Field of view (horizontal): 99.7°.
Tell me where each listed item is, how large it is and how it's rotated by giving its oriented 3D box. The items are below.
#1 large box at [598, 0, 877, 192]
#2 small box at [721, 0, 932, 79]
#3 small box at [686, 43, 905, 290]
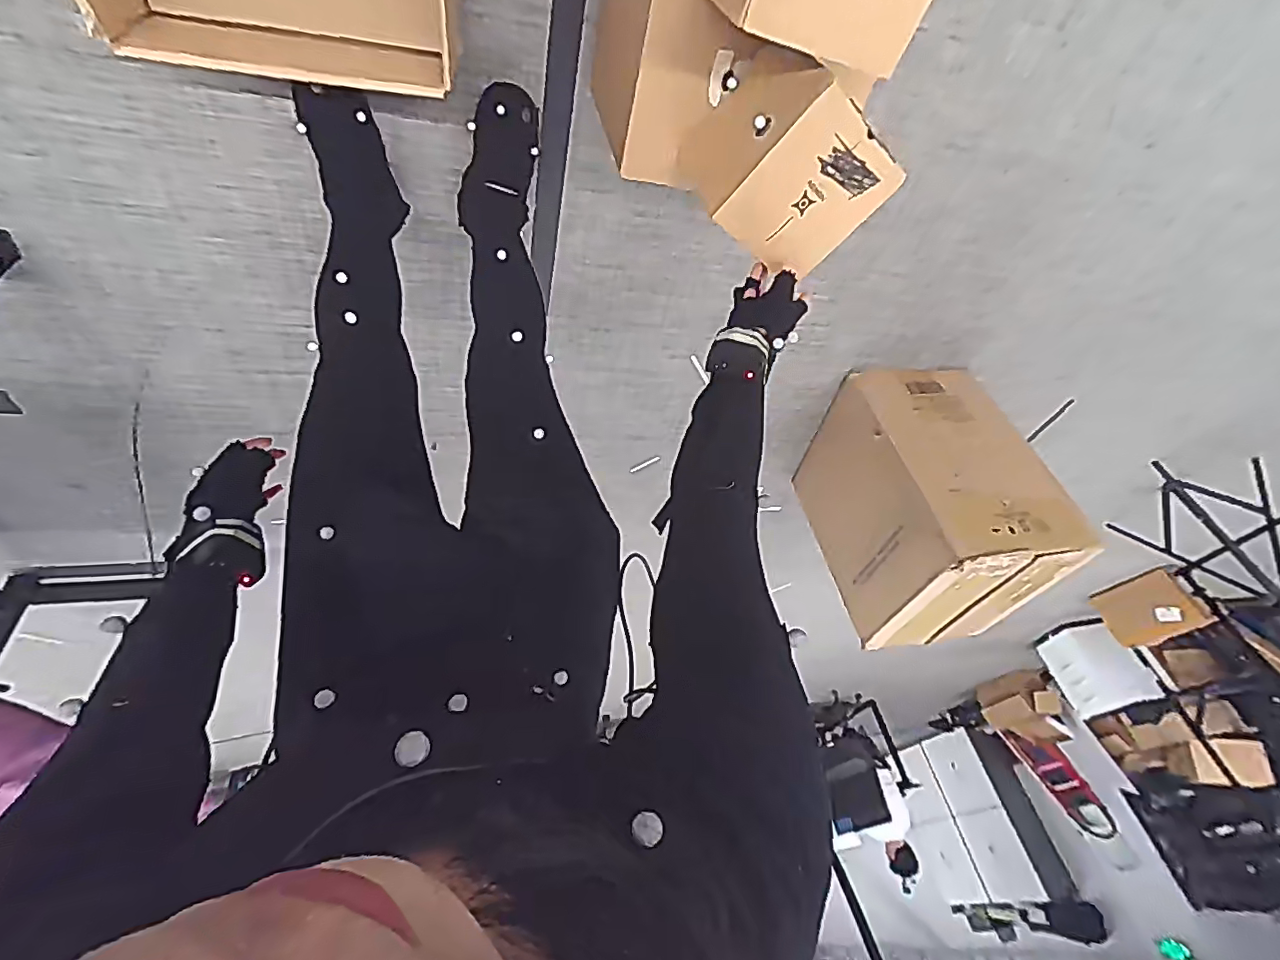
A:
[{"bbox_3d":[0.139,-0.653,0.720,0.320,0.320,0.408,1,142,-16],"label":"large box"},{"bbox_3d":[0.177,-0.517,0.501,0.179,0.176,0.168,1,143,-19],"label":"small box"},{"bbox_3d":[0.181,-0.385,0.672,0.168,0.176,0.179,22,132,-37],"label":"small box"}]
